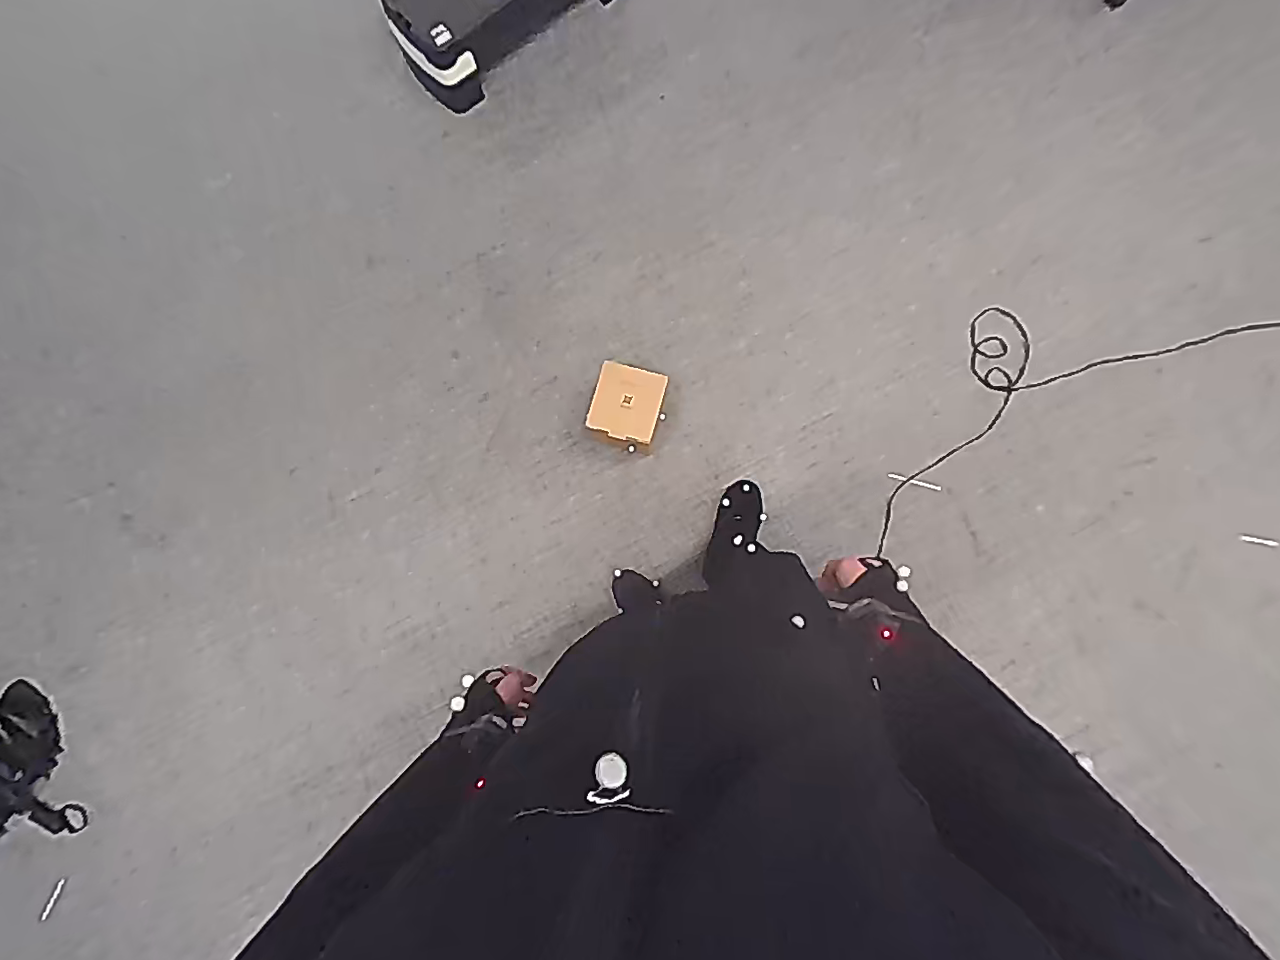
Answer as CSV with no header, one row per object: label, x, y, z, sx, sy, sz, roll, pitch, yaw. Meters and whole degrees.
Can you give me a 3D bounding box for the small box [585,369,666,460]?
small box,-0.032,-0.161,1.398,0.168,0.176,0.179,15,81,2
